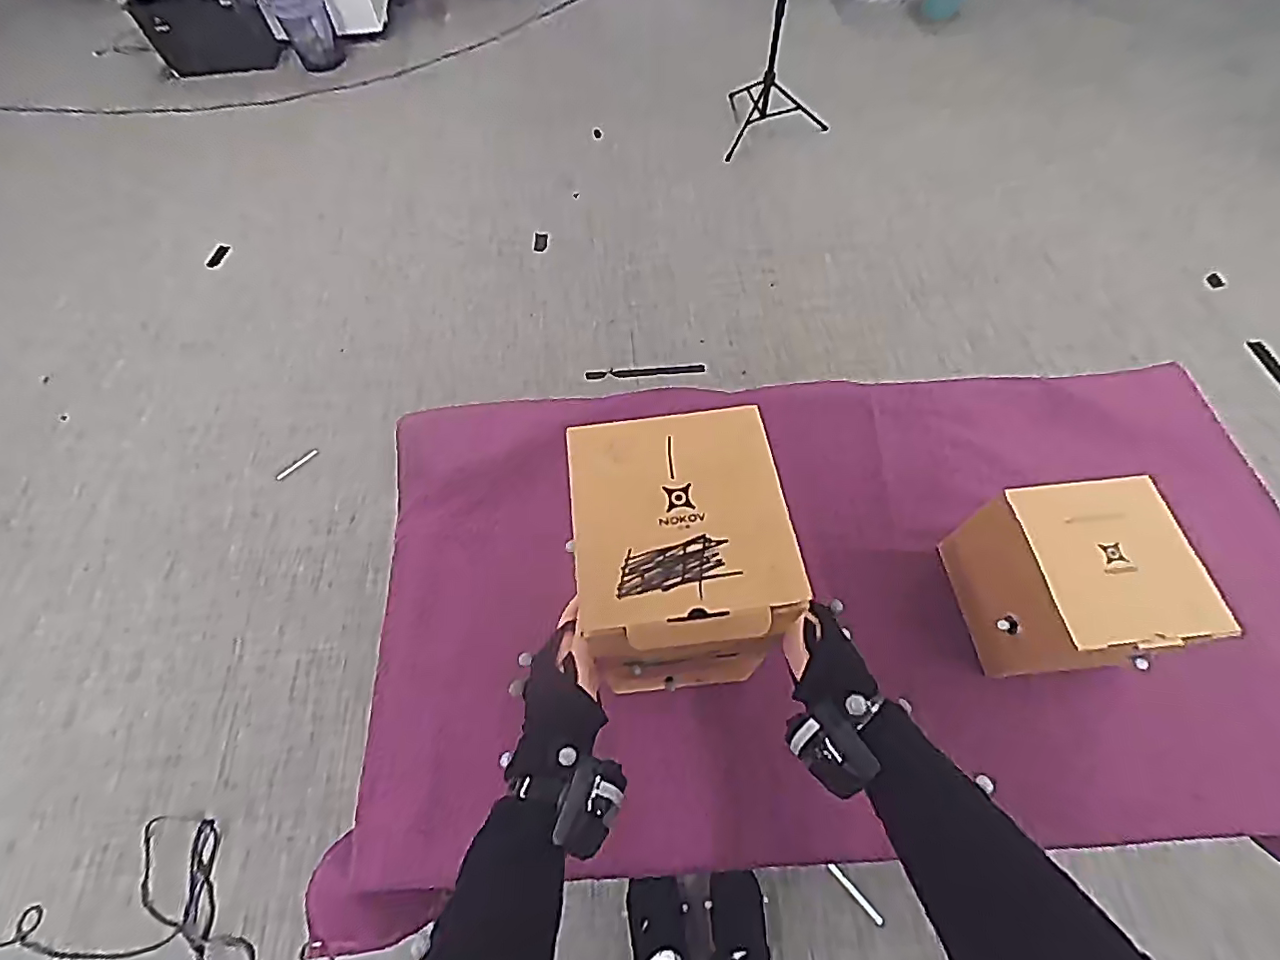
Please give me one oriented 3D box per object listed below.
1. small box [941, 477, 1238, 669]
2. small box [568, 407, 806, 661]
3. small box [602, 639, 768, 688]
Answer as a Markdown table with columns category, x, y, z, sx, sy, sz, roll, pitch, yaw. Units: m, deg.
| category | x | y | z | sx | sy | sz | roll | pitch | yaw |
| --- | --- | --- | --- | --- | --- | --- | --- | --- | --- |
| small box | 0.488 | 0.117 | 0.625 | 0.168 | 0.176 | 0.179 | -5 | 62 | -1 |
| small box | 0.032 | 0.059 | 0.489 | 0.168 | 0.176 | 0.179 | -7 | 62 | -2 |
| small box | 0.039 | 0.136 | 0.635 | 0.168 | 0.176 | 0.179 | -6 | 63 | -1 |
